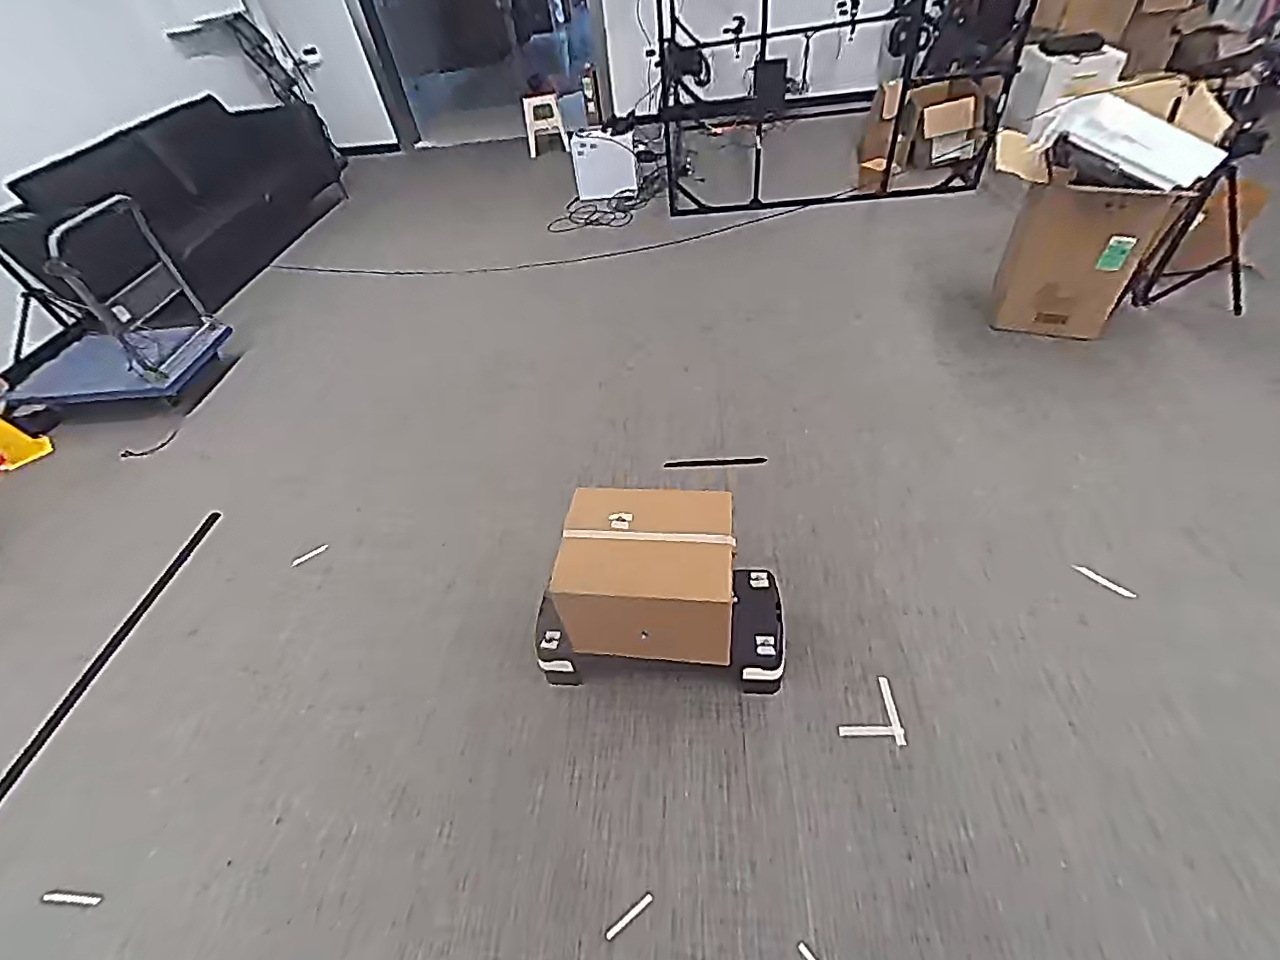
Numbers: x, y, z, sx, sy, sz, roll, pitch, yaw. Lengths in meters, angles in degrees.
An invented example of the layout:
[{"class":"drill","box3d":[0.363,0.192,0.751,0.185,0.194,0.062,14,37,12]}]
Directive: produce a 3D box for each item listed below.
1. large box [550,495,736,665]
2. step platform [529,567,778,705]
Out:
[{"class":"large box","box3d":[0.034,0.250,1.359,0.408,0.320,0.320,0,46,10]},{"class":"step platform","box3d":[0.040,0.423,1.526,0.684,0.204,0.286,2,47,12]}]
